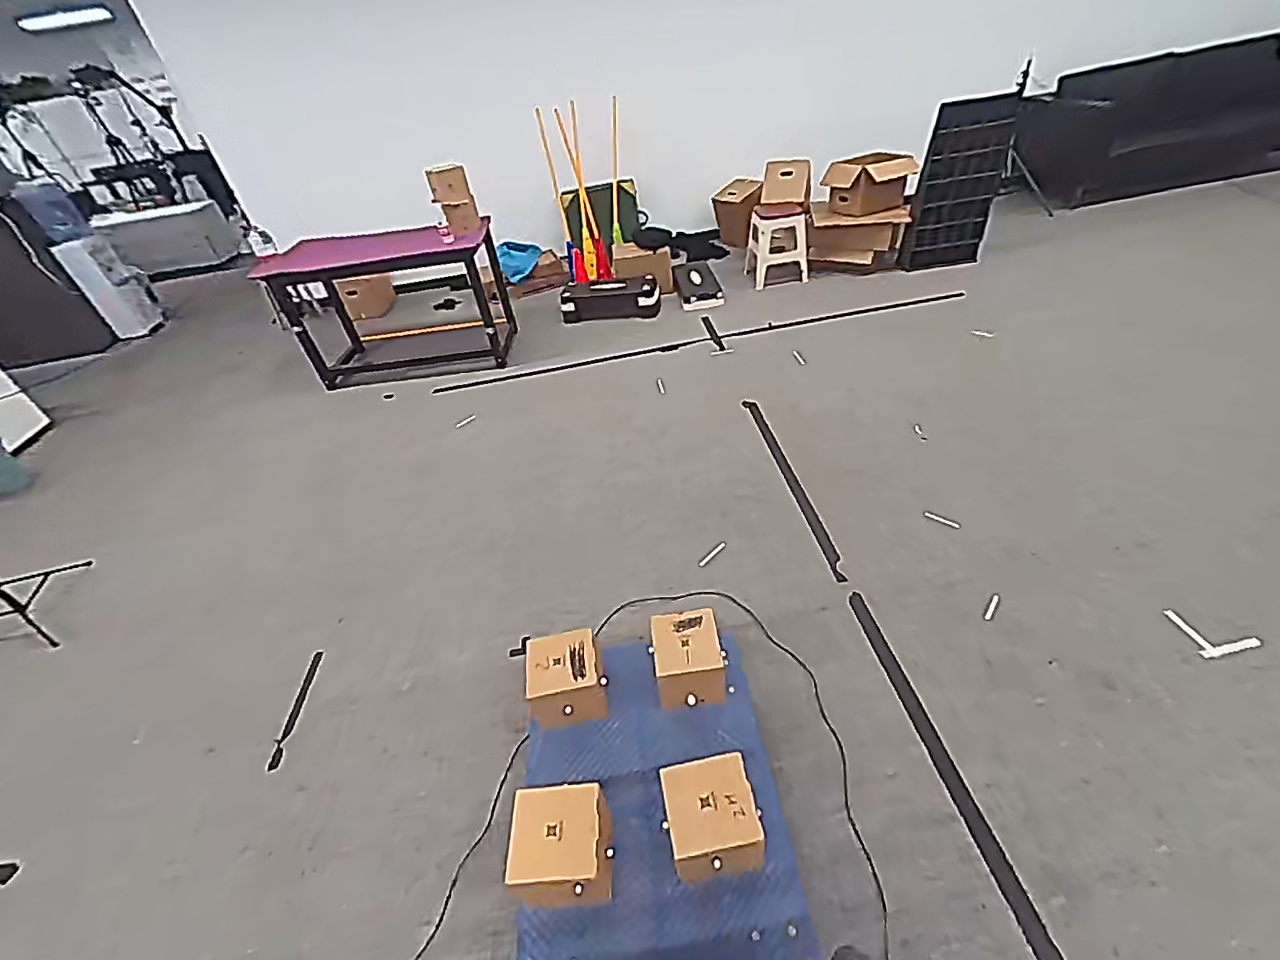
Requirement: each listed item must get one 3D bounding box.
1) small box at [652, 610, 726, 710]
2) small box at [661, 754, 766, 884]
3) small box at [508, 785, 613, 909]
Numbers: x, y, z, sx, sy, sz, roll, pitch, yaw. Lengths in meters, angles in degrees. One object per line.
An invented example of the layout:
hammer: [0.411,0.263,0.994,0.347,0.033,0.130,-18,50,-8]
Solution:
small box: [0.126,0.465,1.399,0.168,0.176,0.179,-9,40,1]
small box: [0.151,0.699,1.112,0.179,0.176,0.168,-11,39,-2]
small box: [-0.153,0.754,1.108,0.179,0.176,0.168,-7,39,1]
